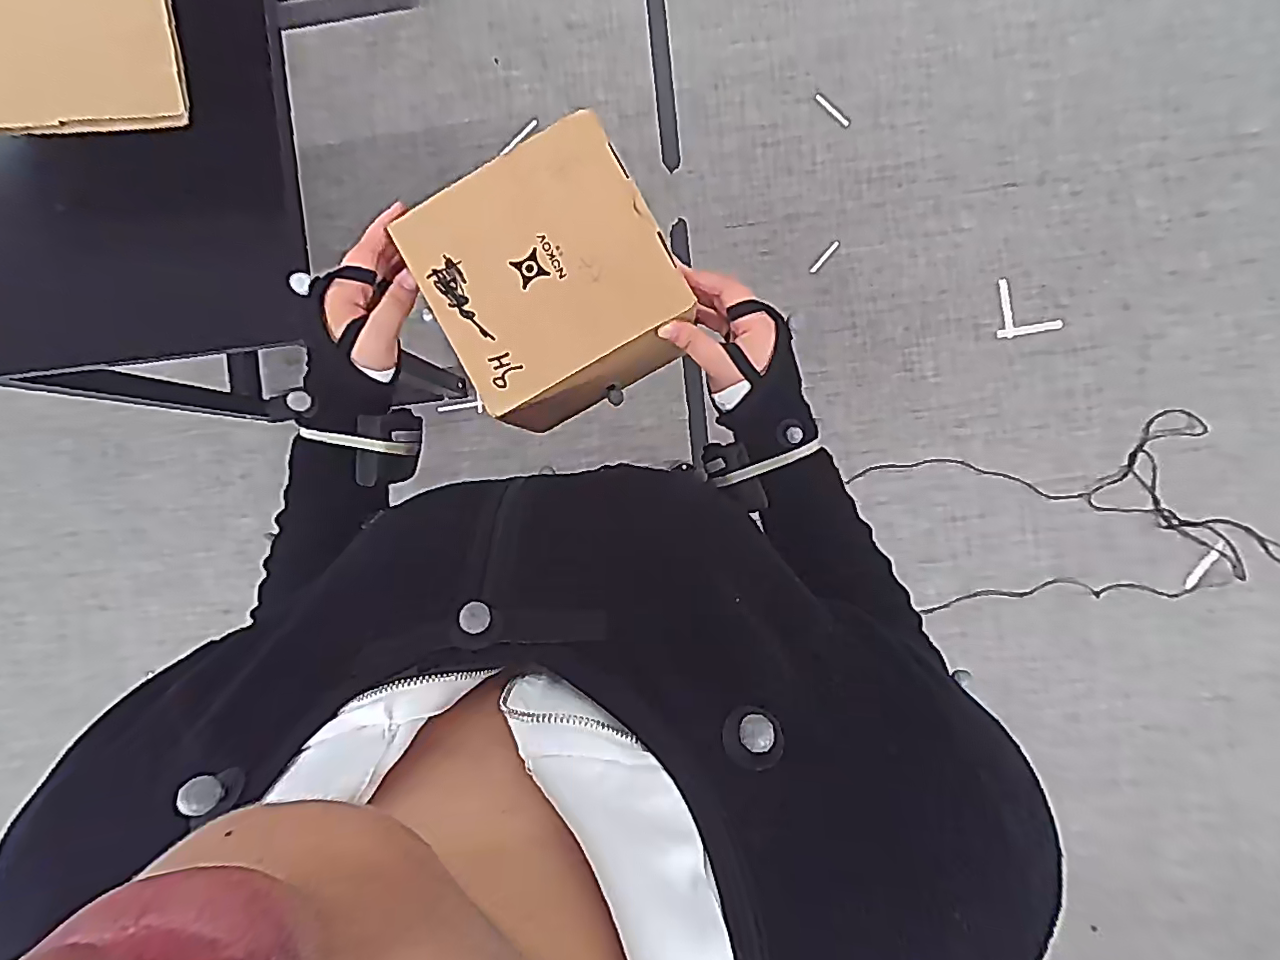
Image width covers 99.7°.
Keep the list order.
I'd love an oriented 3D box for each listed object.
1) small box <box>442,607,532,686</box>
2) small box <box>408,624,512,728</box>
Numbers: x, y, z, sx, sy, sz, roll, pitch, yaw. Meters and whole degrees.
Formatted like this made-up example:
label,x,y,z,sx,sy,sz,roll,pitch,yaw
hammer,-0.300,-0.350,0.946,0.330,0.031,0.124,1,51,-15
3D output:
label,x,y,z,sx,sy,sz,roll,pitch,yaw
small box,-0.402,0.450,1.445,0.179,0.176,0.168,-10,91,1
small box,-0.414,0.455,1.282,0.179,0.176,0.168,-13,90,3
